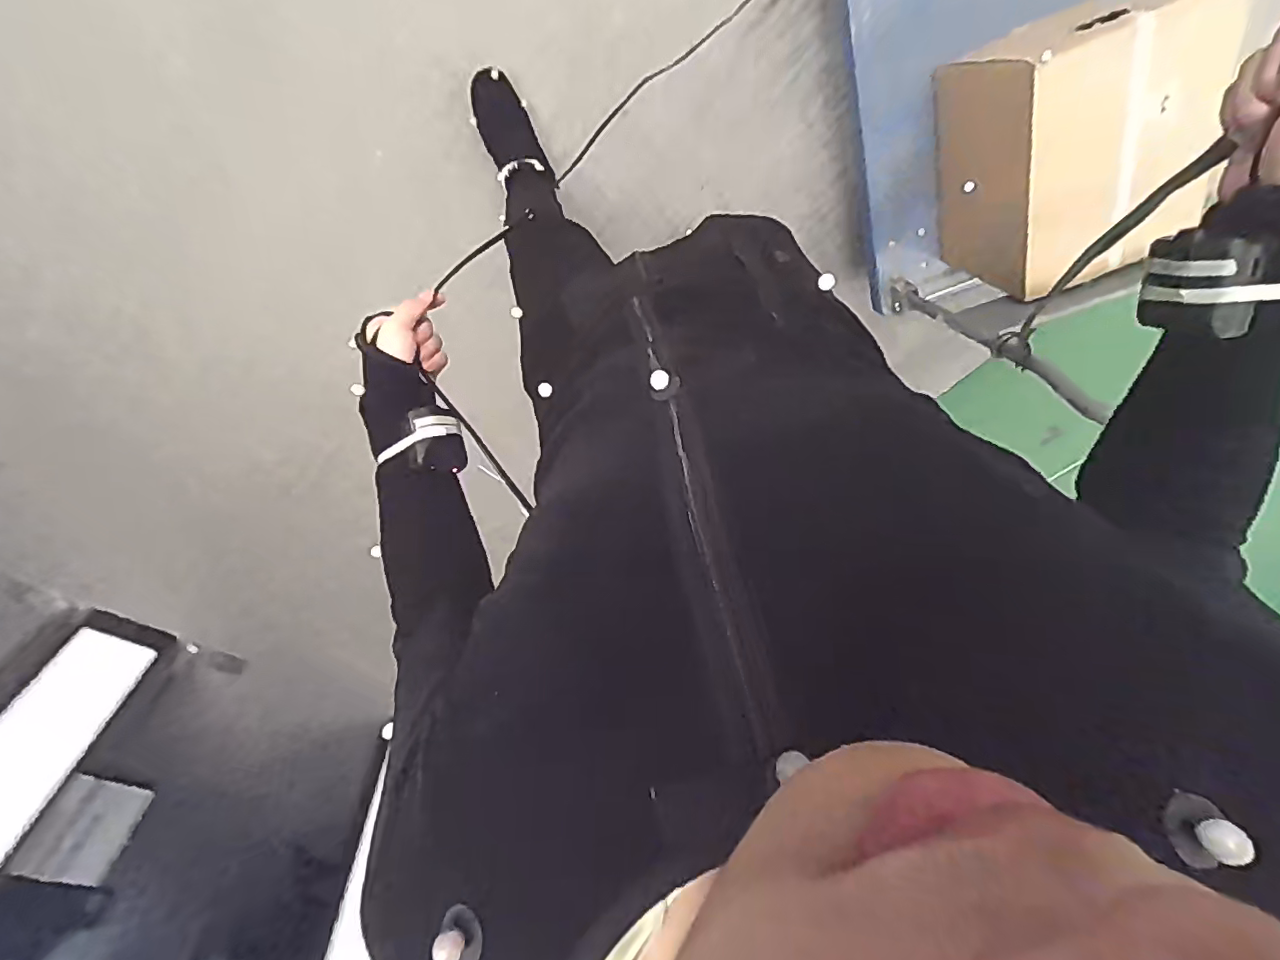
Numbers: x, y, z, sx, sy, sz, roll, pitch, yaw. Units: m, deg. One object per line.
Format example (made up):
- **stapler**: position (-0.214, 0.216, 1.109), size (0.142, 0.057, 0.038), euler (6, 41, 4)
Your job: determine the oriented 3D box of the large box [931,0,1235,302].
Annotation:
- **large box**: position (0.801, -0.626, 1.044), size (0.320, 0.320, 0.408), euler (-20, 124, 9)
